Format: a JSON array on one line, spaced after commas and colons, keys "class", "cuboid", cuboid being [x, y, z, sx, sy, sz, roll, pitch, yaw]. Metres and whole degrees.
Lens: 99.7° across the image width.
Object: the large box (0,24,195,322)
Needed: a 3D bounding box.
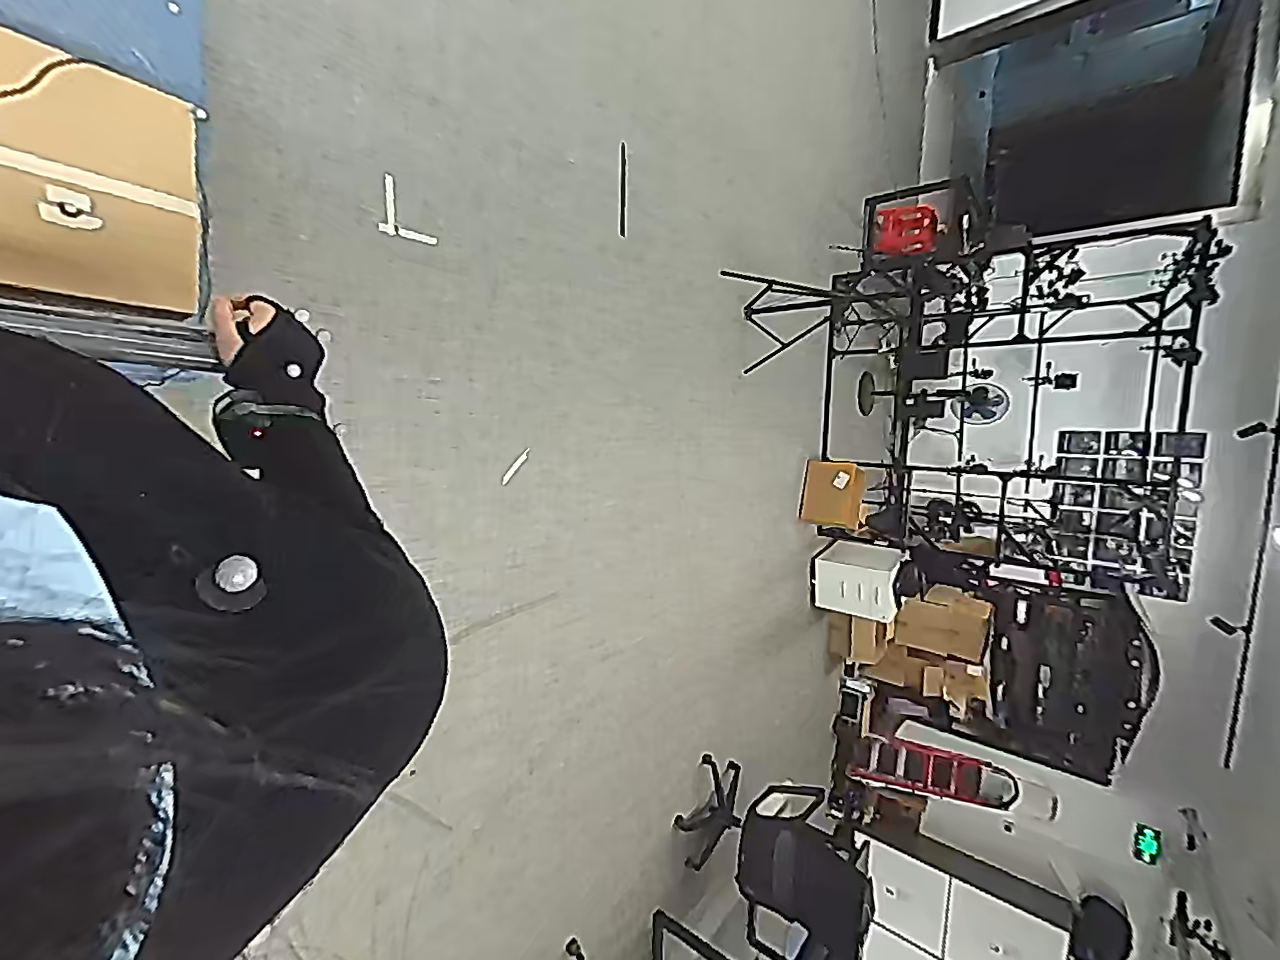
[{"class": "large box", "cuboid": [-0.924, -0.424, 0.757, 0.408, 0.320, 0.320, -3, 98, -53]}]
